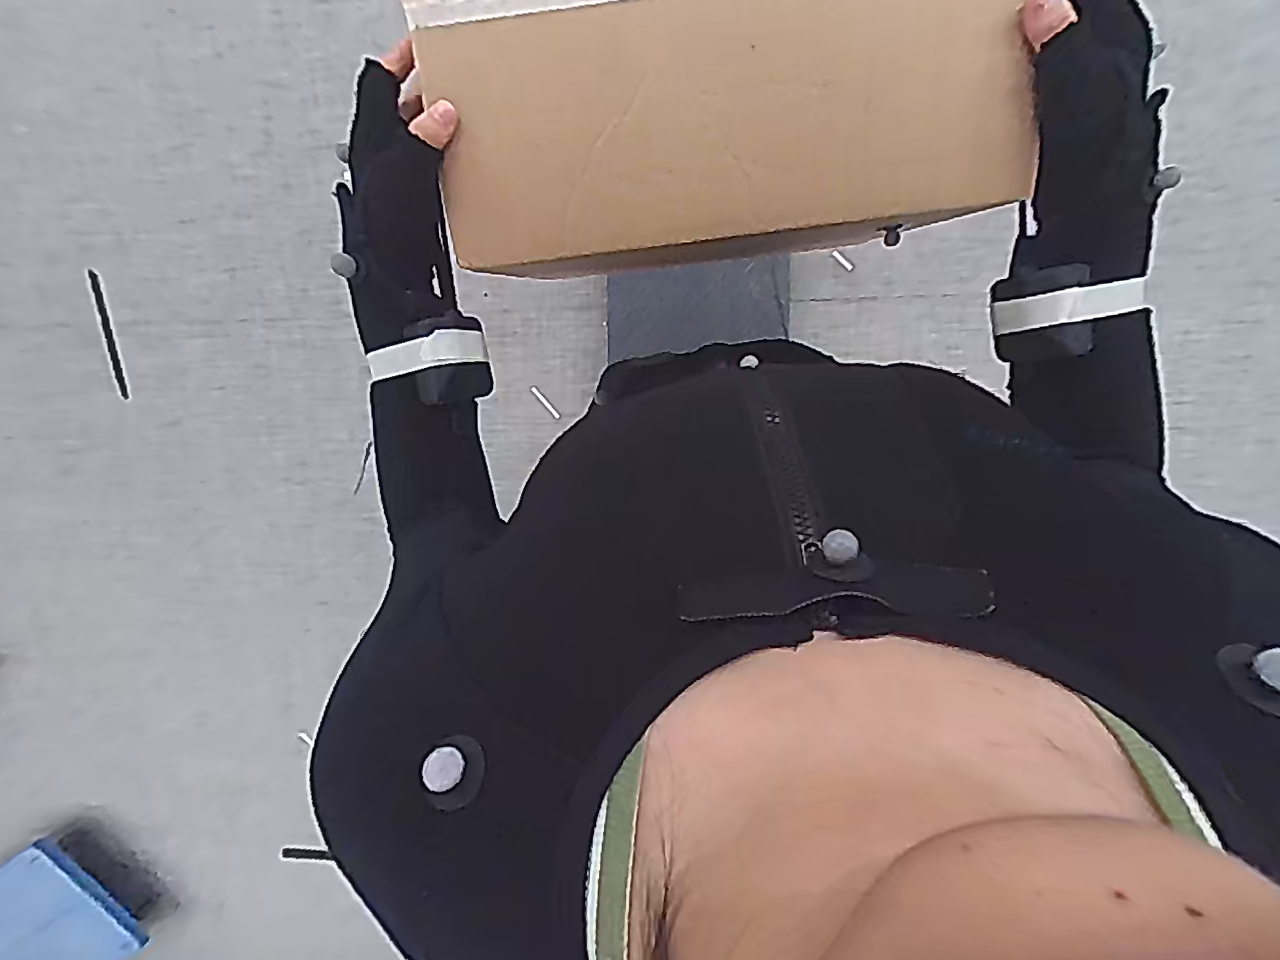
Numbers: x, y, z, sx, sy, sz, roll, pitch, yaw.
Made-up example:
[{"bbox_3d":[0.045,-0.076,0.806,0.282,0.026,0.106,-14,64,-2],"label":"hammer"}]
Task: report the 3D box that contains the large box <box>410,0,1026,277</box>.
[{"bbox_3d":[0.051,-0.370,0.485,0.408,0.320,0.320,-6,108,3],"label":"large box"}]
